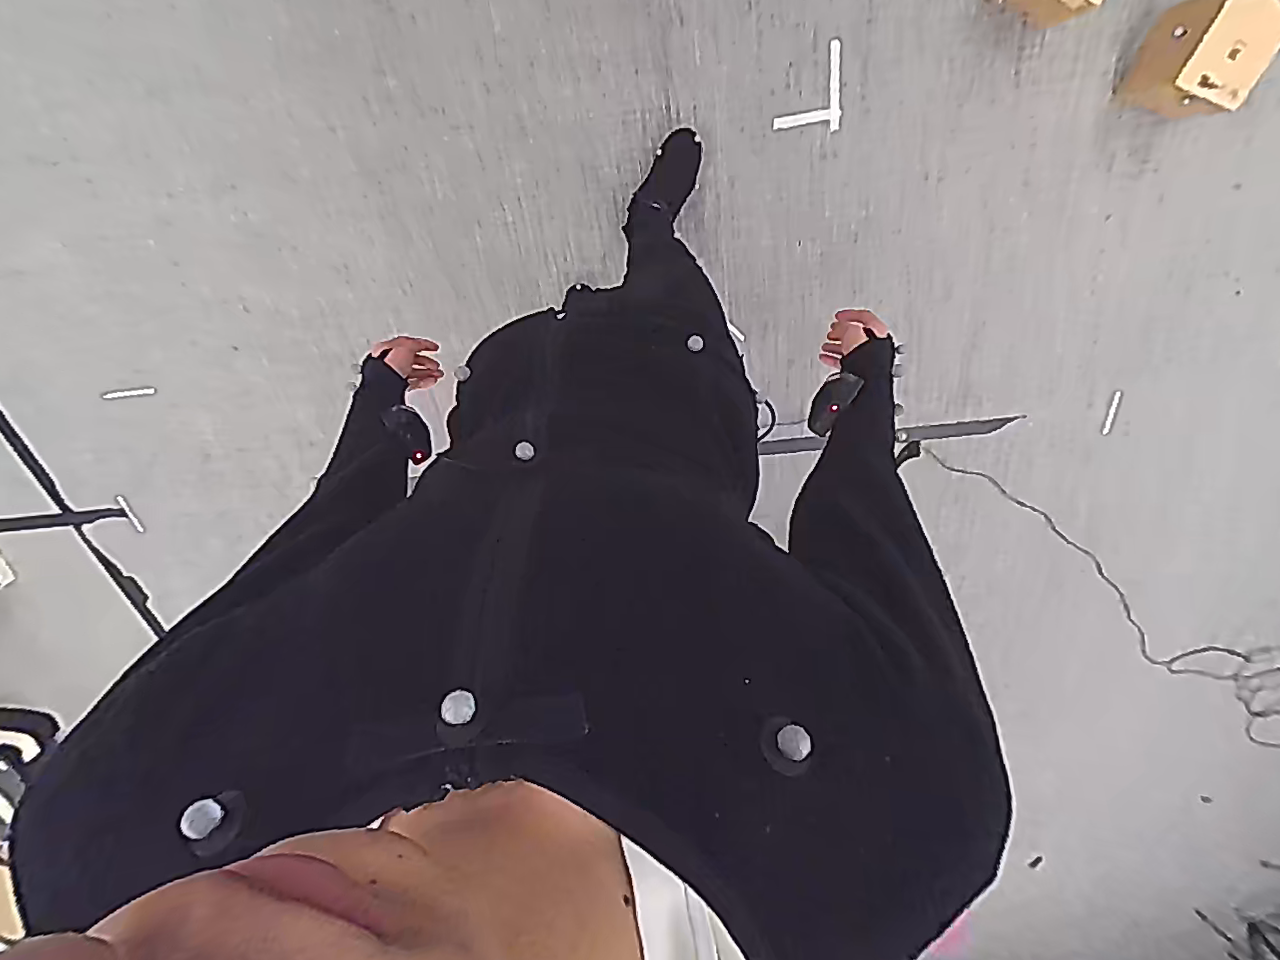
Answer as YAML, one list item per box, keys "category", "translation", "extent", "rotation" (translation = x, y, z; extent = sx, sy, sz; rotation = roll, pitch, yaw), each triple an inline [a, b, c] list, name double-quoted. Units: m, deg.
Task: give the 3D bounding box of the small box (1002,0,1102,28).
- category: "small box"
  translation: [0.863, -1.063, 1.088]
  extent: [0.168, 0.176, 0.179]
  rotation: [22, 115, -12]

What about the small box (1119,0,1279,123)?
- category: "small box"
  translation: [1.218, -0.911, 1.175]
  extent: [0.168, 0.176, 0.179]
  rotation: [16, 115, -9]

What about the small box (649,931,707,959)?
- category: "small box"
  translation: [0.114, 1.468, 1.589]
  extent: [0.168, 0.176, 0.179]
  rotation: [0, 116, -1]
